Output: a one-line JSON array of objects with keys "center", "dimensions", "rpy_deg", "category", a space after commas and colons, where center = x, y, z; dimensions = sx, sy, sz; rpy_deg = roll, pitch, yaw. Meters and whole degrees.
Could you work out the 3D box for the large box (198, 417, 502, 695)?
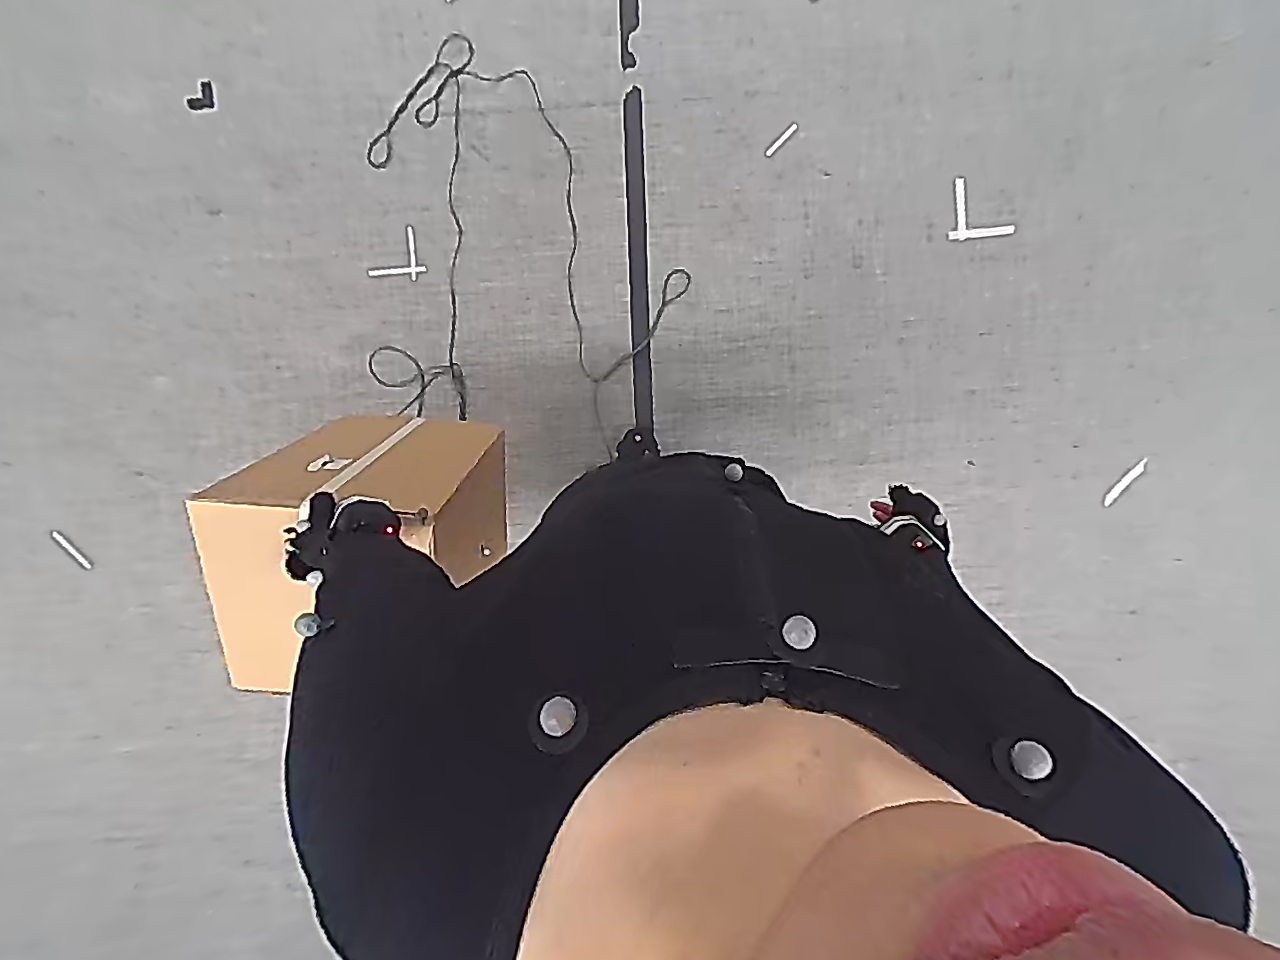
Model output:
[{"center": [-0.436, 0.104, 0.942], "dimensions": [0.320, 0.408, 0.320], "rpy_deg": [3, 113, -1], "category": "large box"}]
